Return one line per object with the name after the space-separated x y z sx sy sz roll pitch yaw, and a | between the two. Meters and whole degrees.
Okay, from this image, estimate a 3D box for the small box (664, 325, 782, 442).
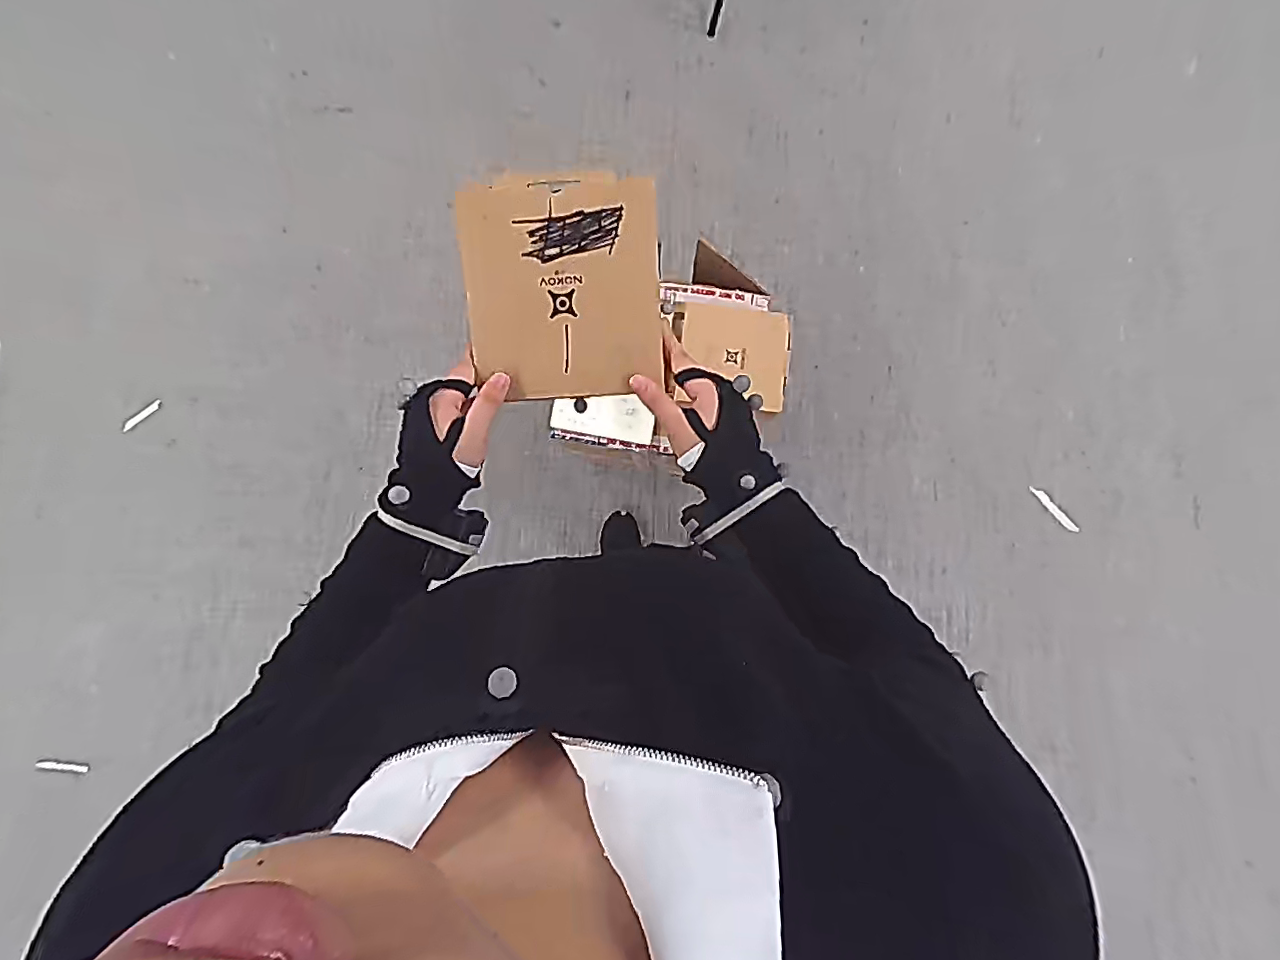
0.141 -0.165 0.976 0.179 0.176 0.168 7 87 1 | small box

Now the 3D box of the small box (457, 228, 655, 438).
-0.073 -0.139 0.552 0.168 0.176 0.179 -3 100 0 | small box
